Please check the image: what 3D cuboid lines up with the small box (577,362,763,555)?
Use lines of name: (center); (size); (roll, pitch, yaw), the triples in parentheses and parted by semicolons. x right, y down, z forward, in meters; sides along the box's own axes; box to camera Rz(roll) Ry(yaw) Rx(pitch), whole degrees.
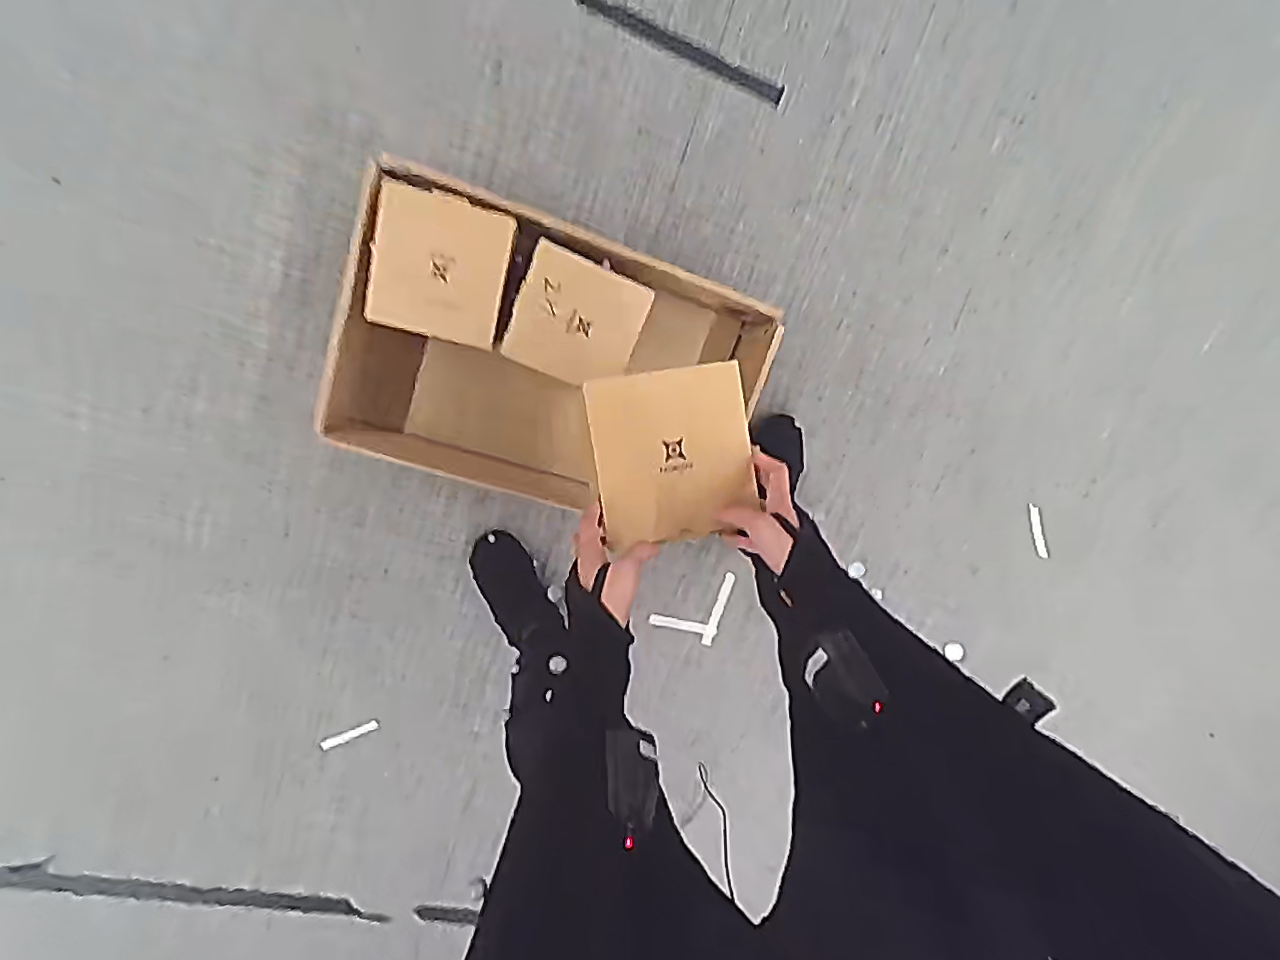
small box: (0.023, -0.023, 0.618); (0.168, 0.176, 0.179); (-10, 92, -8)
